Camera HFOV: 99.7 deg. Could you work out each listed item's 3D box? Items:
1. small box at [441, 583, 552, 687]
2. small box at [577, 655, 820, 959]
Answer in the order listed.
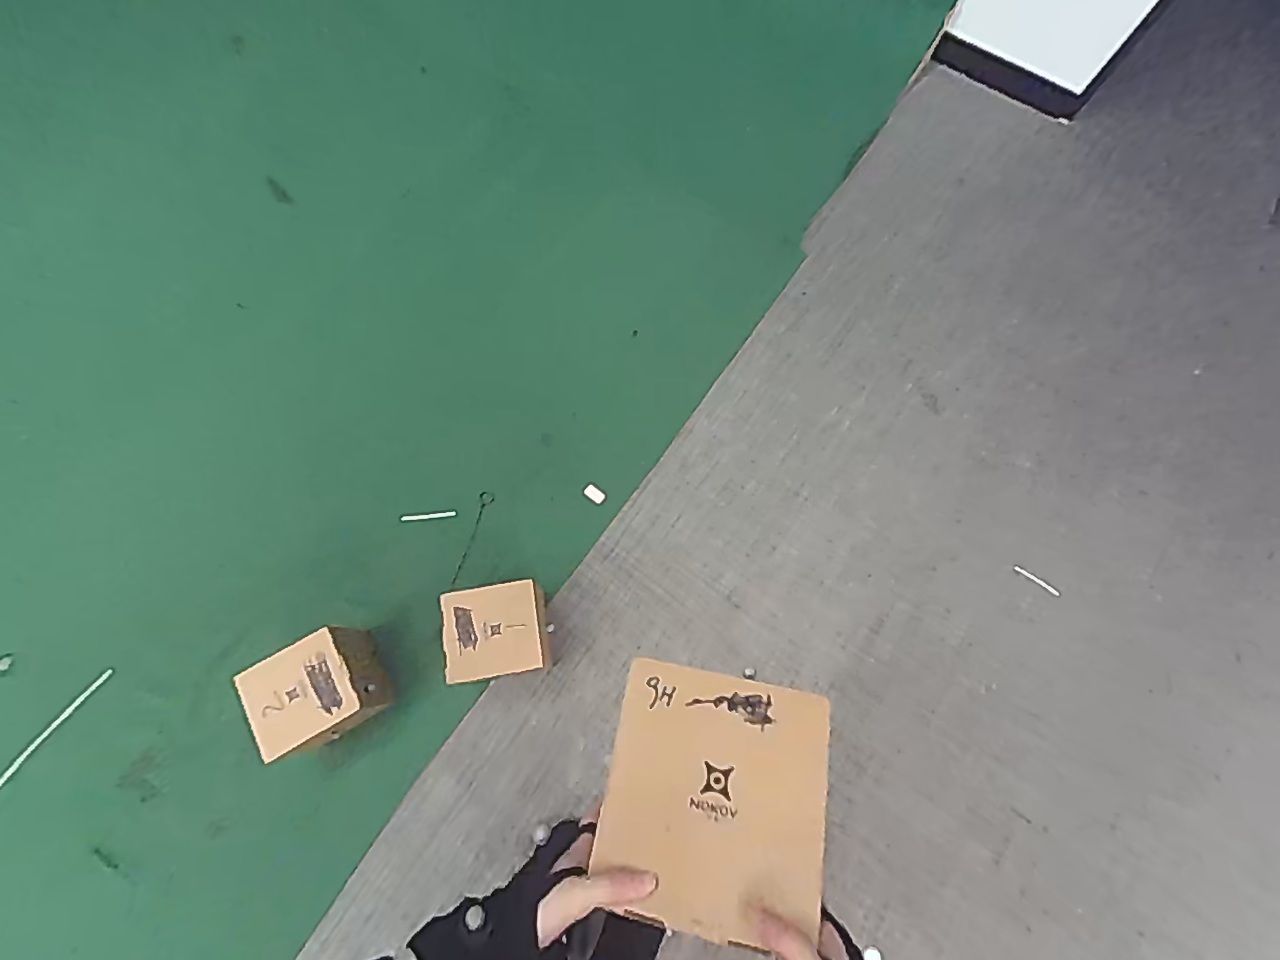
[{"bbox_3d":[-0.280,0.311,1.075,0.179,0.176,0.168,-9,72,-6],"label":"small box"},{"bbox_3d":[0.054,0.275,0.490,0.168,0.176,0.179,10,64,7],"label":"small box"}]
